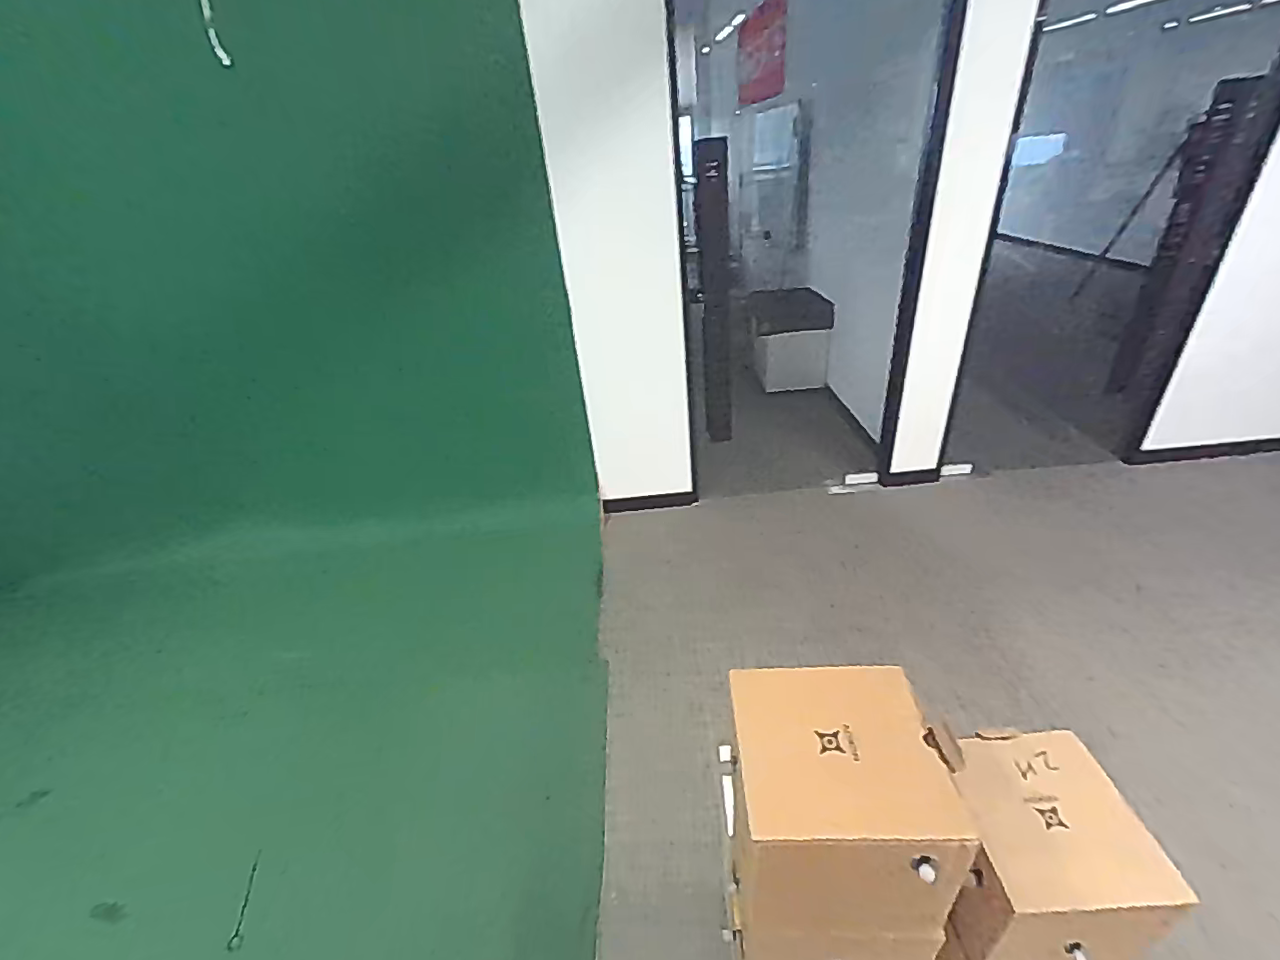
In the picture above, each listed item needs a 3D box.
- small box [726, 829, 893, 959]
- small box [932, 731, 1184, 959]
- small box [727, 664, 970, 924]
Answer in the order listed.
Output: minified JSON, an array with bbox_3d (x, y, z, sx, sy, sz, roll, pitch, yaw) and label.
[{"bbox_3d":[0.207,0.582,0.702,0.179,0.176,0.168,-2,32,4],"label":"small box"},{"bbox_3d":[0.432,0.419,0.615,0.168,0.176,0.179,-5,31,2],"label":"small box"},{"bbox_3d":[0.181,0.304,0.532,0.179,0.176,0.168,-2,31,3],"label":"small box"}]
